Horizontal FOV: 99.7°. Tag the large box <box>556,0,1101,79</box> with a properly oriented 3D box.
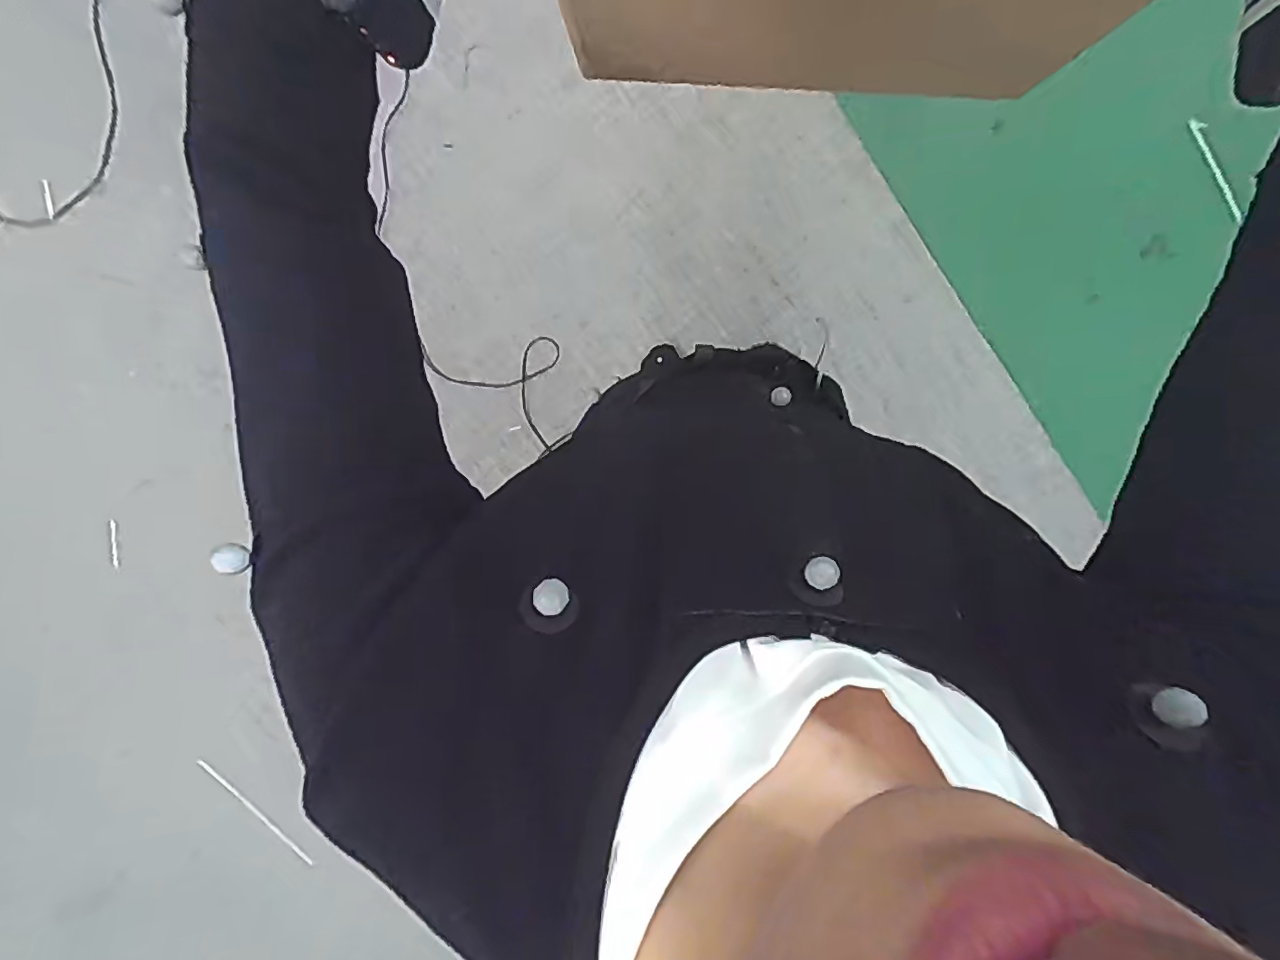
[{"bbox_3d":[0.135,-0.482,0.318,0.408,0.320,0.320,3,104,1],"label":"large box"}]
